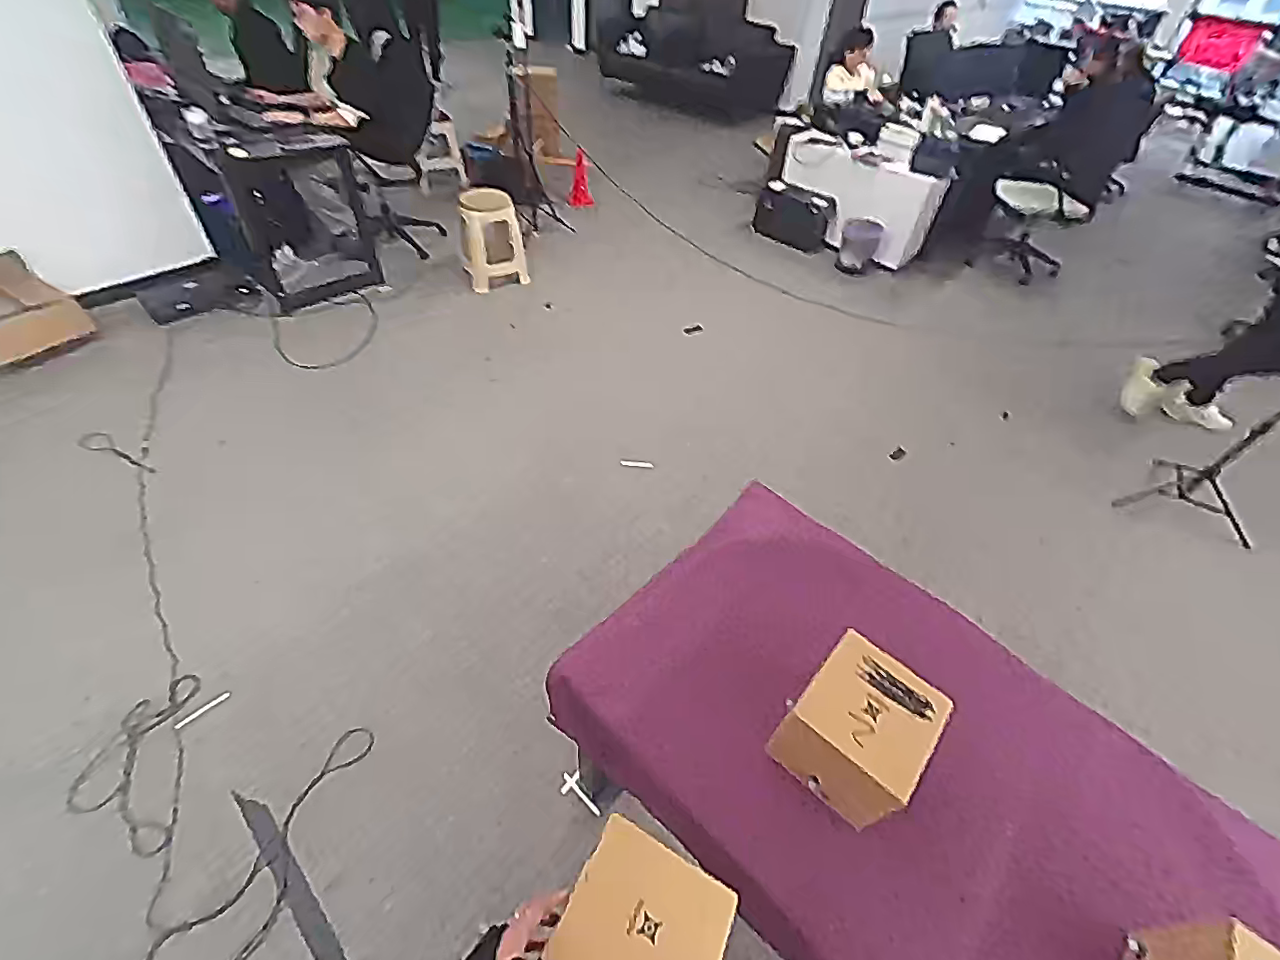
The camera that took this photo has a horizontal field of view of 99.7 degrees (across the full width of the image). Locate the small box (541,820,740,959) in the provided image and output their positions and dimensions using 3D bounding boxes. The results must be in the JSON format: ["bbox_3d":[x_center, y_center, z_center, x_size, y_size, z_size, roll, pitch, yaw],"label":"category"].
[{"bbox_3d":[-0.010,0.555,0.631,0.179,0.176,0.168,25,34,15],"label":"small box"}]

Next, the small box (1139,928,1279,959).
[{"bbox_3d":[0.673,0.642,0.583,0.179,0.176,0.168,36,54,25],"label":"small box"}]
